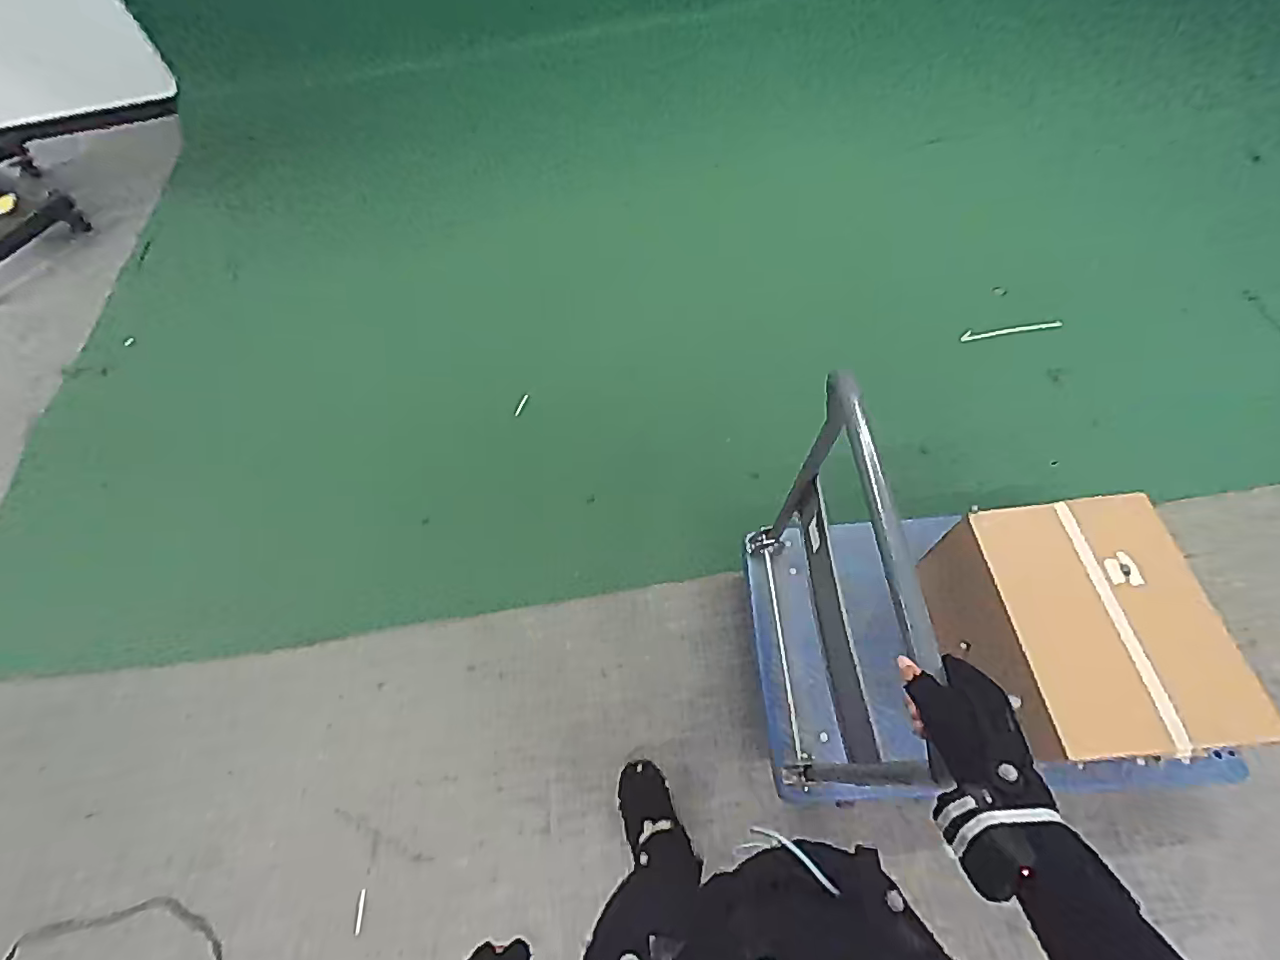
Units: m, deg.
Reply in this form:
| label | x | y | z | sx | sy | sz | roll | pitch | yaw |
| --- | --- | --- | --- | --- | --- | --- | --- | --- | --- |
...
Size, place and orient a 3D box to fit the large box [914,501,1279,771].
| label | x | y | z | sx | sy | sz | roll | pitch | yaw |
| --- | --- | --- | --- | --- | --- | --- | --- | --- | --- |
| large box | 0.776 | 0.300 | 1.013 | 0.320 | 0.320 | 0.408 | -6 | 59 | 3 |
